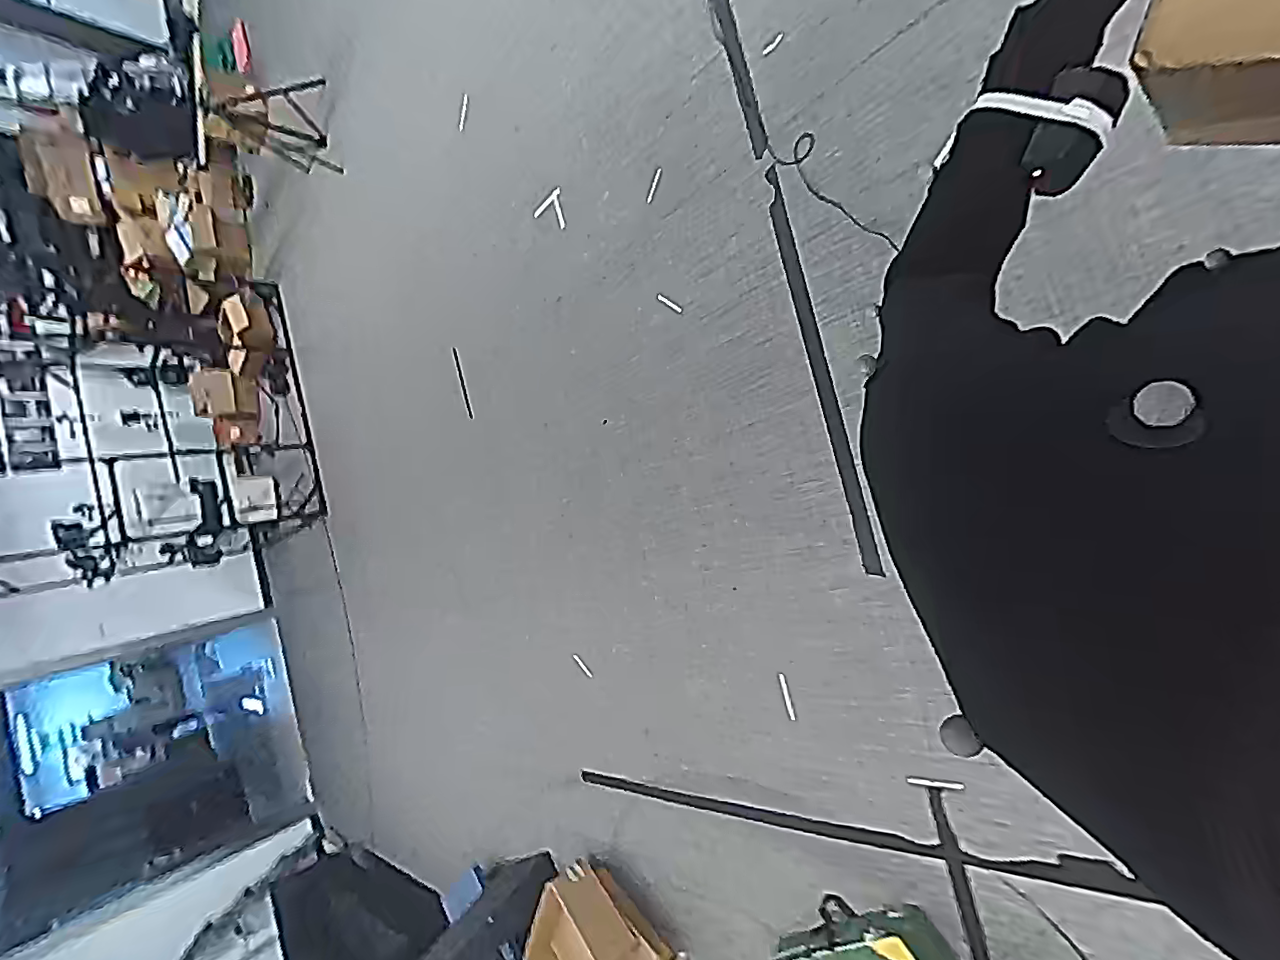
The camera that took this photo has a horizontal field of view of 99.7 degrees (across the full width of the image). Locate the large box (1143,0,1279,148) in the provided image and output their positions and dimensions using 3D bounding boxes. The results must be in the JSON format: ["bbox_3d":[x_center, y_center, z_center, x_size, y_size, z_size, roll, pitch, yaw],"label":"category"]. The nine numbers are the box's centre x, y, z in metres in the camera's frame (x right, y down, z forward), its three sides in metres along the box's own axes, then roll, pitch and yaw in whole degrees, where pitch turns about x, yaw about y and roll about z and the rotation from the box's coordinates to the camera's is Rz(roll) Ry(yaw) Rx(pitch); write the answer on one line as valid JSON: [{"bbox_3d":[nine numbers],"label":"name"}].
[{"bbox_3d":[0.580,-0.372,0.267,0.408,0.320,0.320,28,124,38],"label":"large box"}]
